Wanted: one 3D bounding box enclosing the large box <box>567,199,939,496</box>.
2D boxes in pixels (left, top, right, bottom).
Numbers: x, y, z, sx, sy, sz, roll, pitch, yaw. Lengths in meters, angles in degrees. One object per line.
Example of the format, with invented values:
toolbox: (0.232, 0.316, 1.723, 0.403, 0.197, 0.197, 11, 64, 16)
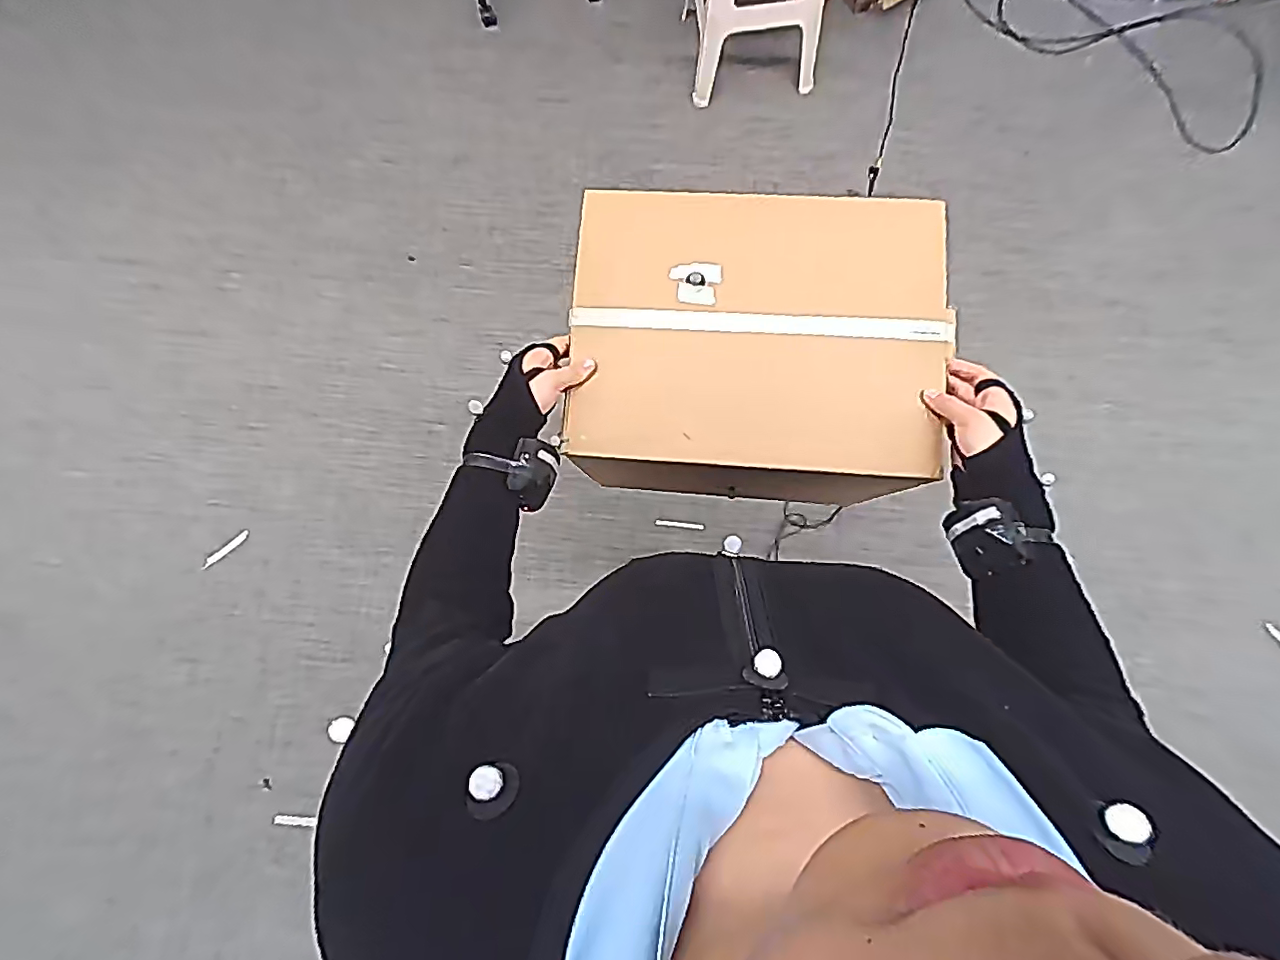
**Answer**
large box: (0.139, -0.150, 0.748, 0.408, 0.320, 0.320, 3, 81, 6)
